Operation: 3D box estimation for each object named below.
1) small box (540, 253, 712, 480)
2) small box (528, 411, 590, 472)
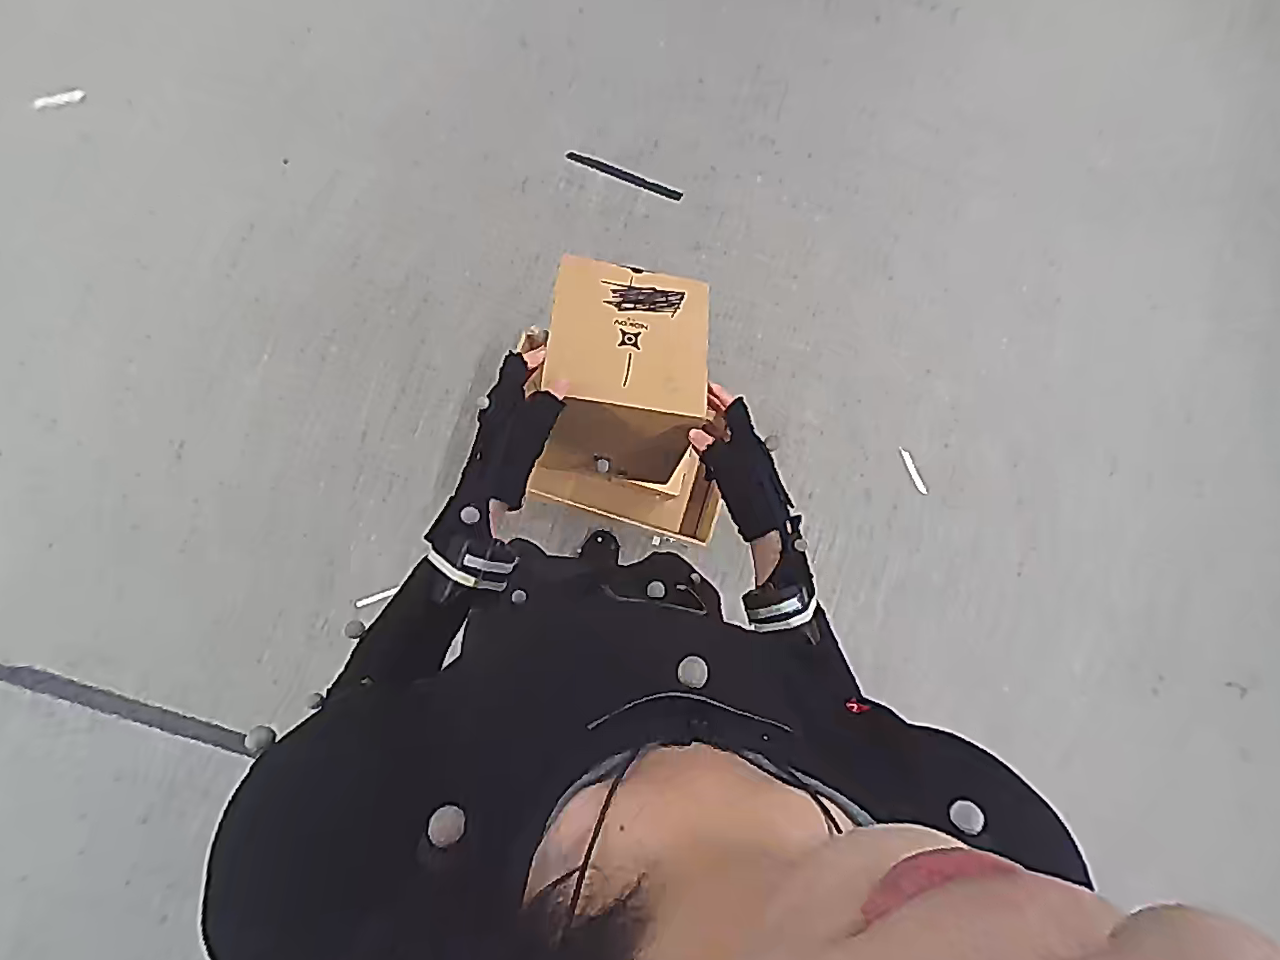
[{"bbox_3d":[-0.022,-0.120,0.620,0.168,0.176,0.179,8,65,-8],"label":"small box"},{"bbox_3d":[-0.174,-0.128,1.409,0.179,0.176,0.168,23,83,-5],"label":"small box"}]
